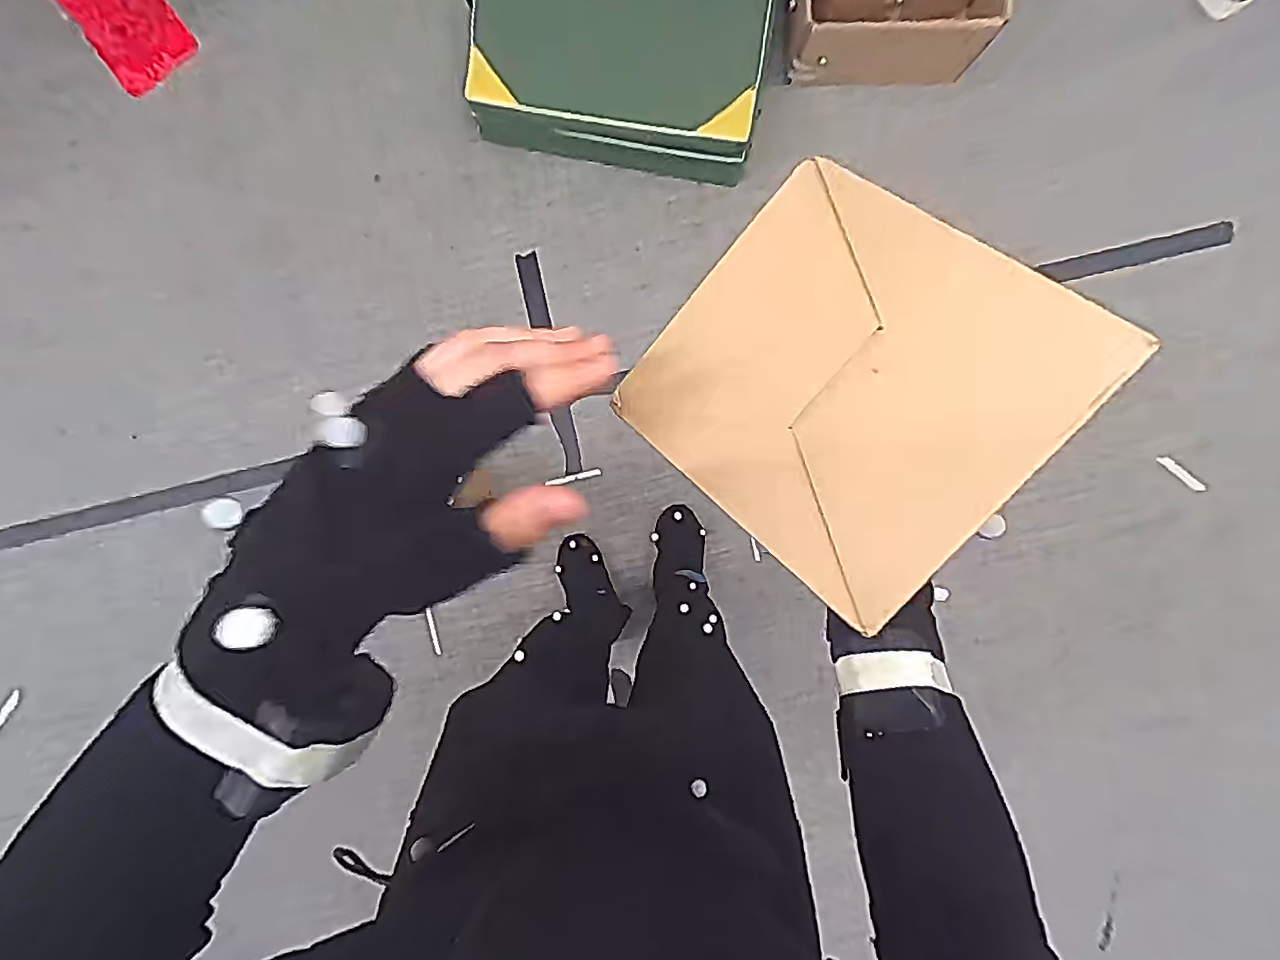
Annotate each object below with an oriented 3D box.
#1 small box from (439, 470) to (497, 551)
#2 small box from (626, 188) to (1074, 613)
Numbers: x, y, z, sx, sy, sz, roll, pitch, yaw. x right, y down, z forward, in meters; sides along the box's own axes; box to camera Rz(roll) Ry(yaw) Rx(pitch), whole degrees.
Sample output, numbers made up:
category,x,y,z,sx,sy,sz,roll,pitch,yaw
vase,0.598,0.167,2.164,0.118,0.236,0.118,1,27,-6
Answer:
category,x,y,z,sx,sy,sz,roll,pitch,yaw
small box,-0.432,0.073,1.216,0.179,0.176,0.168,-11,92,2
small box,0.122,-0.035,0.339,0.179,0.176,0.168,44,99,23
